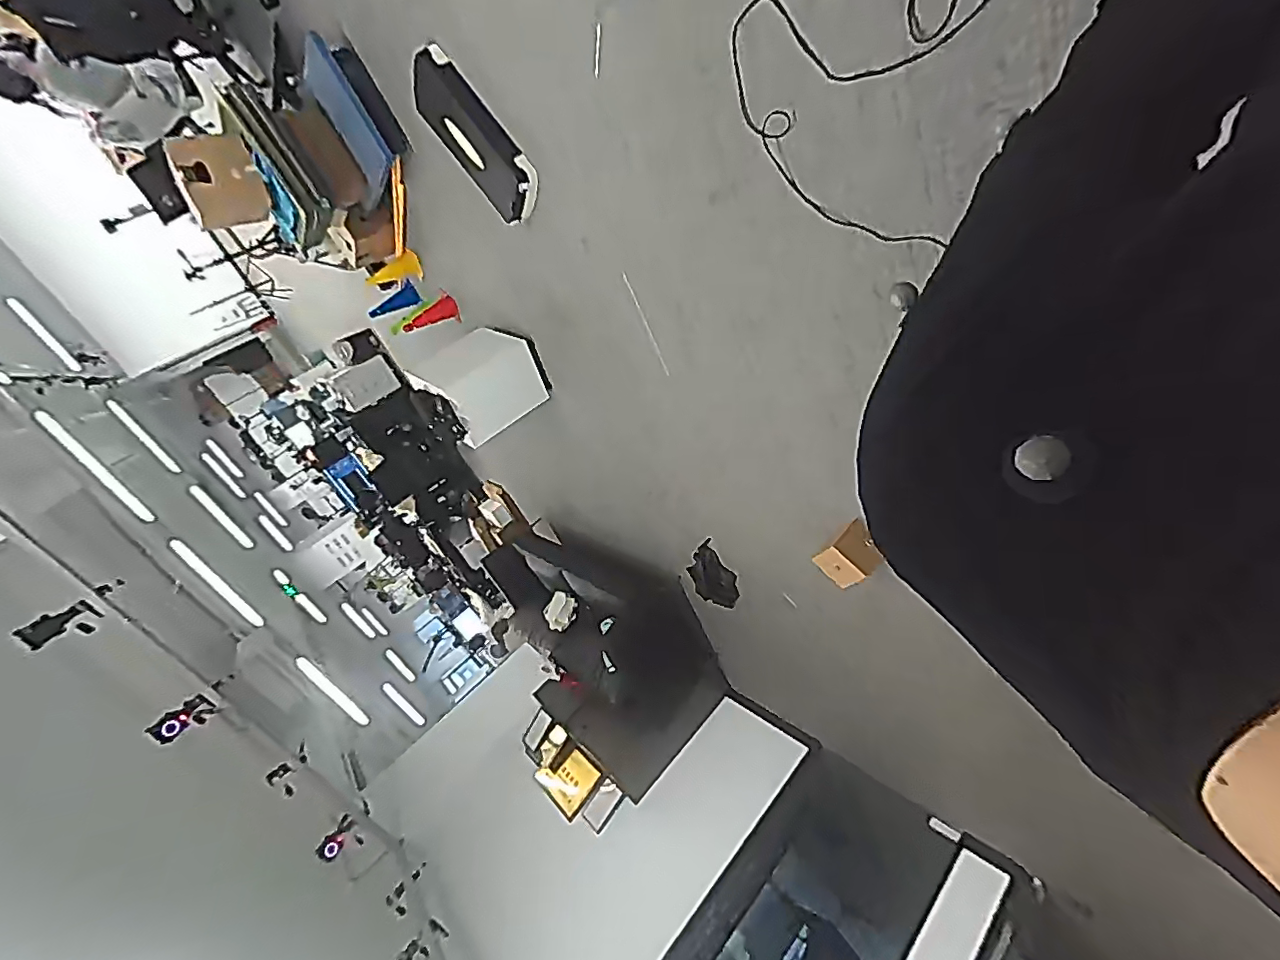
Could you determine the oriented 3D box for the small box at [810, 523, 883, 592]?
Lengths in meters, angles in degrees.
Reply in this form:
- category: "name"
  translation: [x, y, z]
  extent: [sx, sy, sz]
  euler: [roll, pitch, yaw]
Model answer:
- category: "small box"
  translation: [0.795, 0.296, 2.076]
  extent: [0.168, 0.176, 0.179]
  euler: [44, 153, 11]
